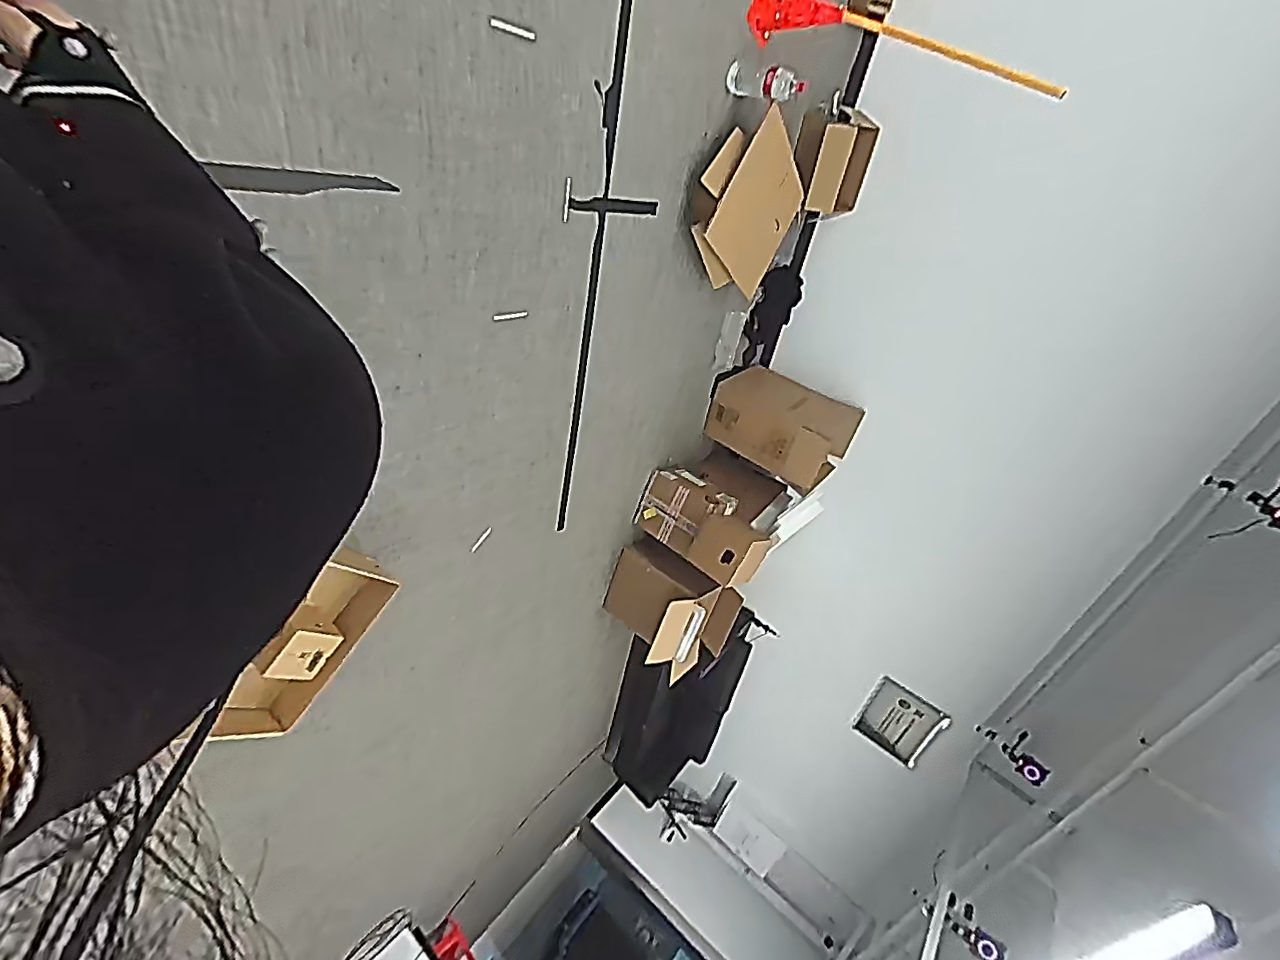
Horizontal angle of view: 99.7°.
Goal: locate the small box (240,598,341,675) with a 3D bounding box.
[{"bbox_3d":[-1.110,0.495,1.717,0.168,0.176,0.179,-55,153,-8],"label":"small box"}]
